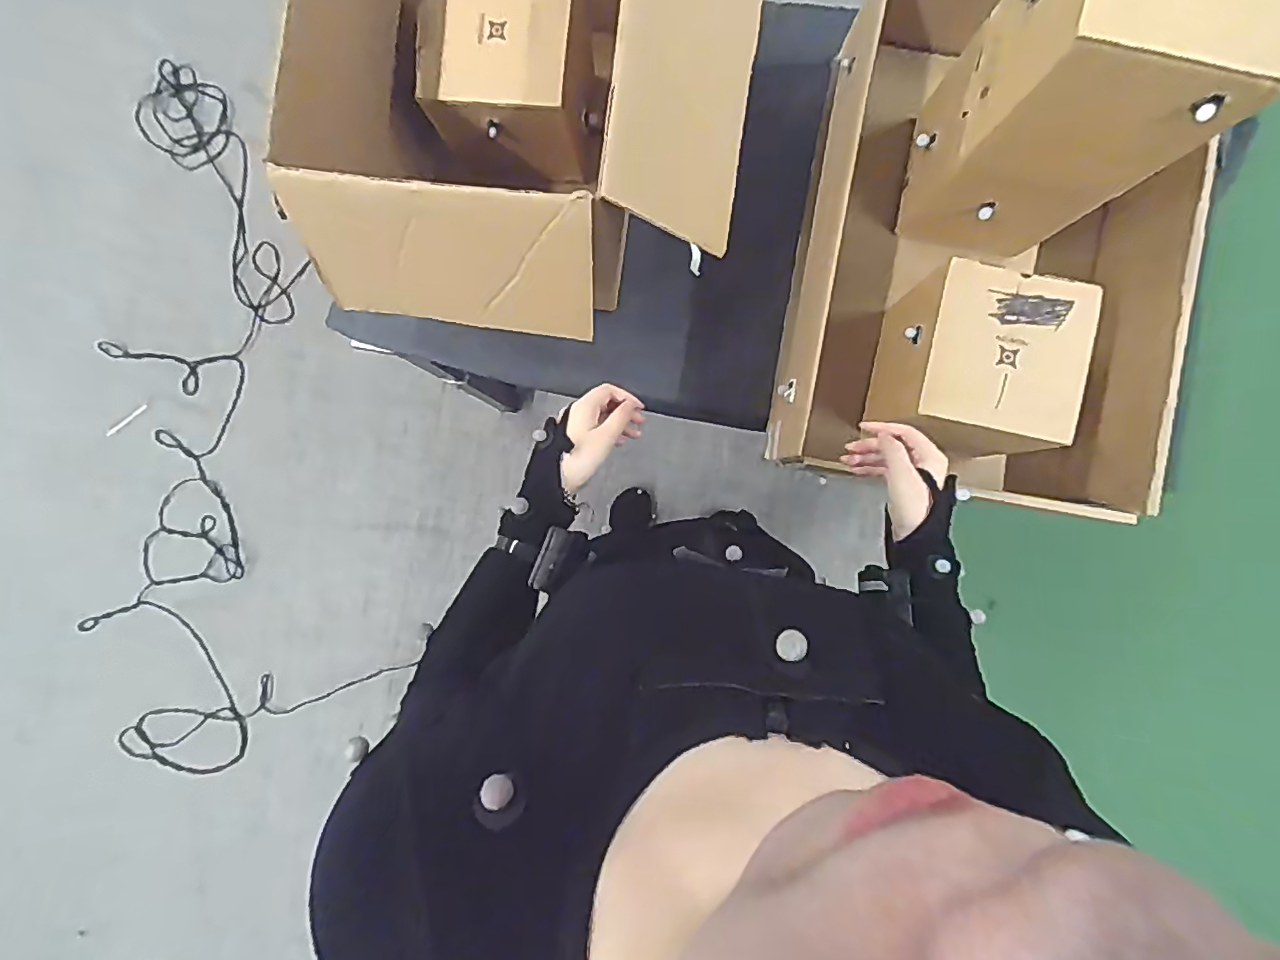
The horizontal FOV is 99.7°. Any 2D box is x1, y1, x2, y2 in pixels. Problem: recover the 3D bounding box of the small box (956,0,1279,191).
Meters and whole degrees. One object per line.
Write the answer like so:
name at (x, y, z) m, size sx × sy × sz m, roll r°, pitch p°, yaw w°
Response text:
small box at (0.432, -0.400, 0.499) m, size 0.179 × 0.176 × 0.168 m, roll 13°, pitch 91°, yaw 0°
